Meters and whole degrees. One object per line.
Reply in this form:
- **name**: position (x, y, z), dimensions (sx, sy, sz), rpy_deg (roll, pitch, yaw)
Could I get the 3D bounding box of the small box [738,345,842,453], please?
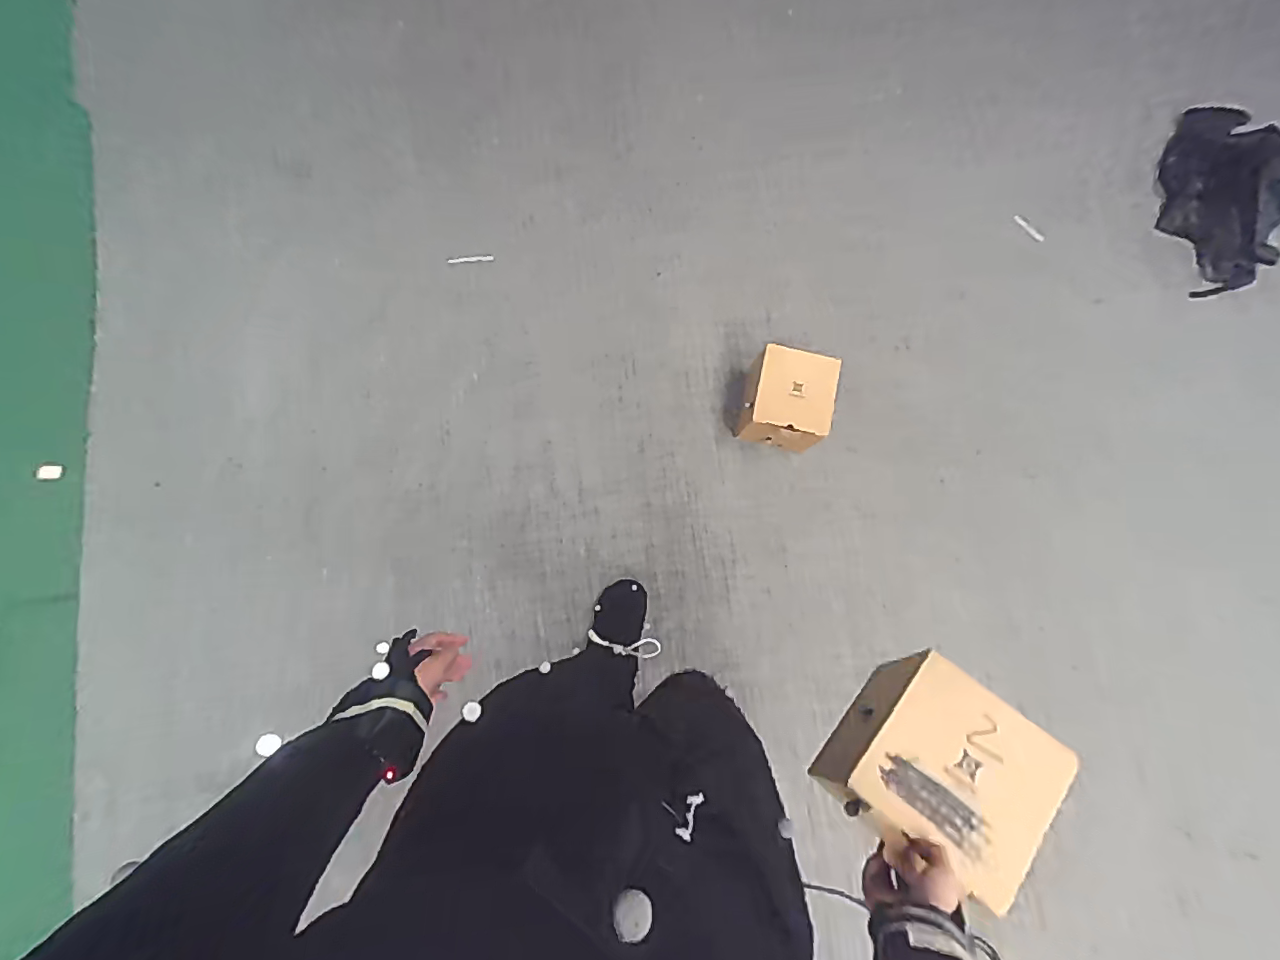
- **small box**: position (0.326, -0.173, 1.205), dimensions (0.168, 0.176, 0.179), rpy_deg (12, 82, -1)
